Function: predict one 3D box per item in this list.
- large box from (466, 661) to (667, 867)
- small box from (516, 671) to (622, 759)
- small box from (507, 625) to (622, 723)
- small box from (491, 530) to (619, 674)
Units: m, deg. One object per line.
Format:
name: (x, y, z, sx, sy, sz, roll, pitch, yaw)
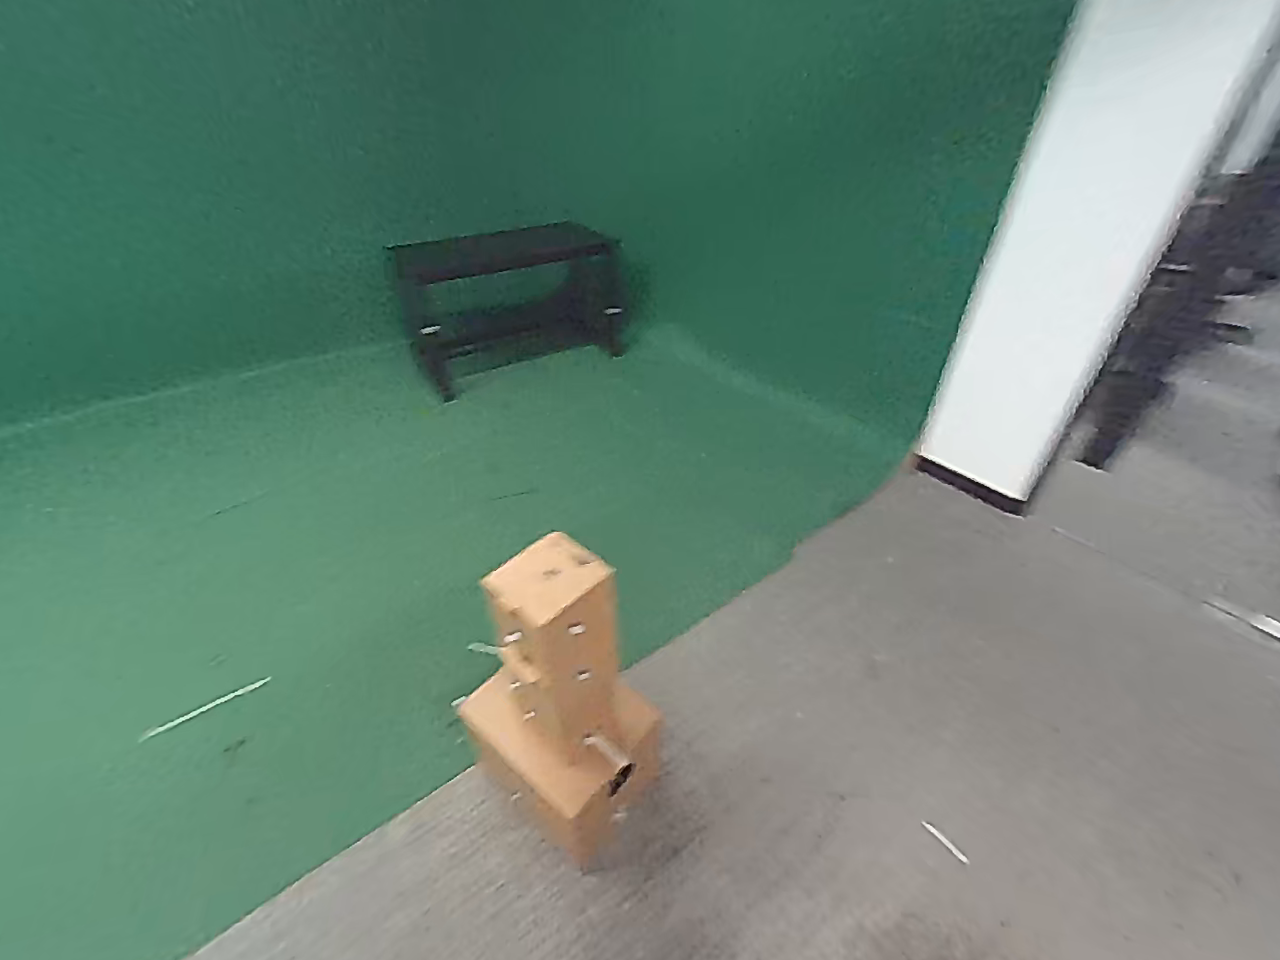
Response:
large box: (-0.176, 0.681, 1.404, 0.408, 0.320, 0.320, 25, 43, 32)
small box: (-0.158, 0.496, 1.242, 0.179, 0.176, 0.168, 30, 48, 33)
small box: (-0.150, 0.368, 1.139, 0.179, 0.176, 0.168, -32, 47, -33)
small box: (-0.154, 0.235, 1.043, 0.168, 0.176, 0.179, 30, 49, 34)
